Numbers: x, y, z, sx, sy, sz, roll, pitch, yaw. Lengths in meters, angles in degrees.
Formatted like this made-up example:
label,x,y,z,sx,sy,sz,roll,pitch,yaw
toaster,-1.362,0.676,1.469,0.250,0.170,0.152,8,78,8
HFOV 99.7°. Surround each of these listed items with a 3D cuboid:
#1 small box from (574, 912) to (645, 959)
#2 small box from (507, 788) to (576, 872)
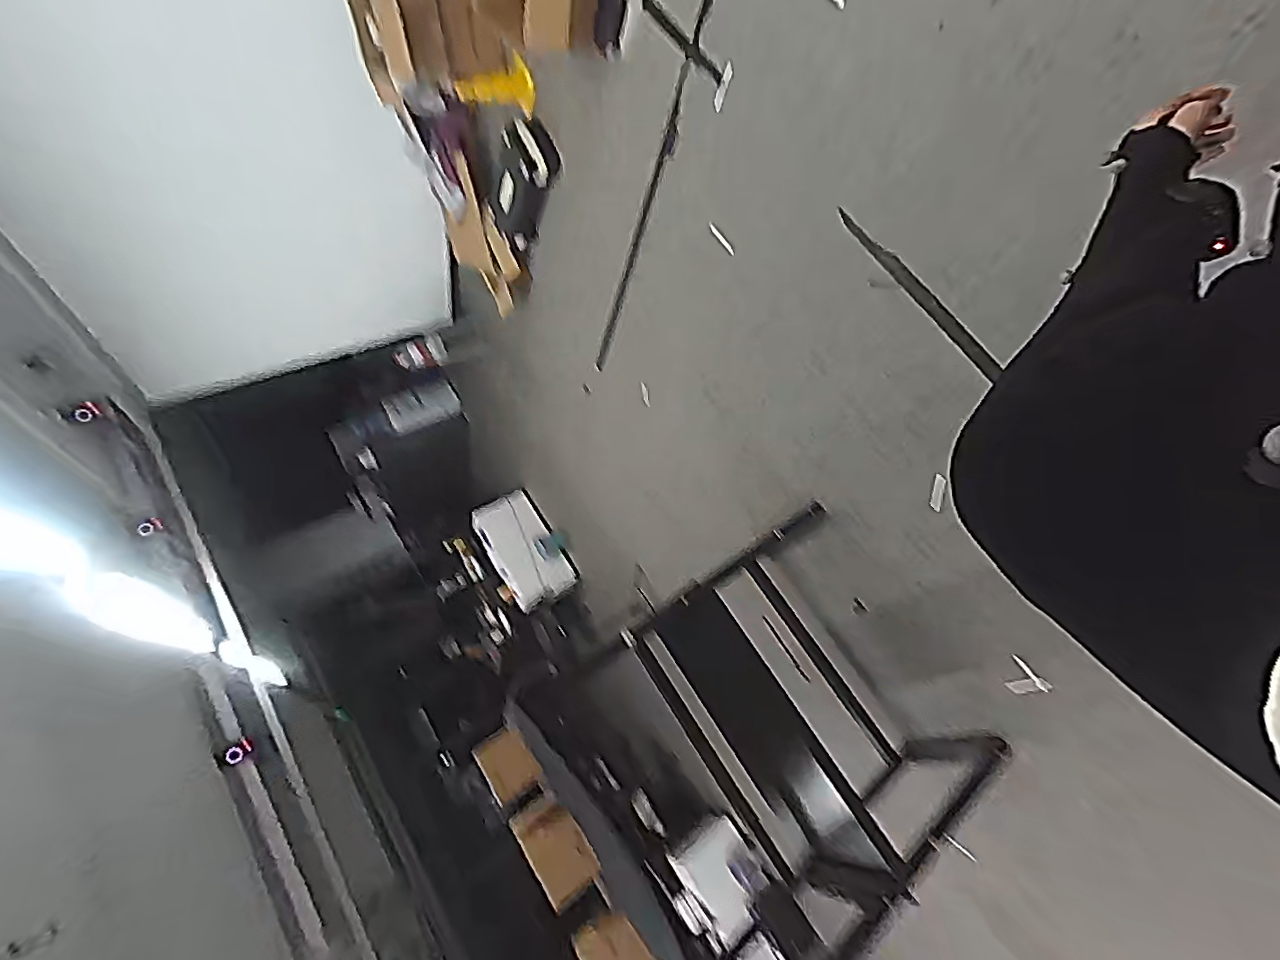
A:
label,x,y,z,sx,sy,sz,roll,pitch,yaw
small box,-0.087,1.539,1.734,0.168,0.176,0.179,56,153,14
small box,-0.336,1.184,1.844,0.168,0.176,0.179,56,152,12
